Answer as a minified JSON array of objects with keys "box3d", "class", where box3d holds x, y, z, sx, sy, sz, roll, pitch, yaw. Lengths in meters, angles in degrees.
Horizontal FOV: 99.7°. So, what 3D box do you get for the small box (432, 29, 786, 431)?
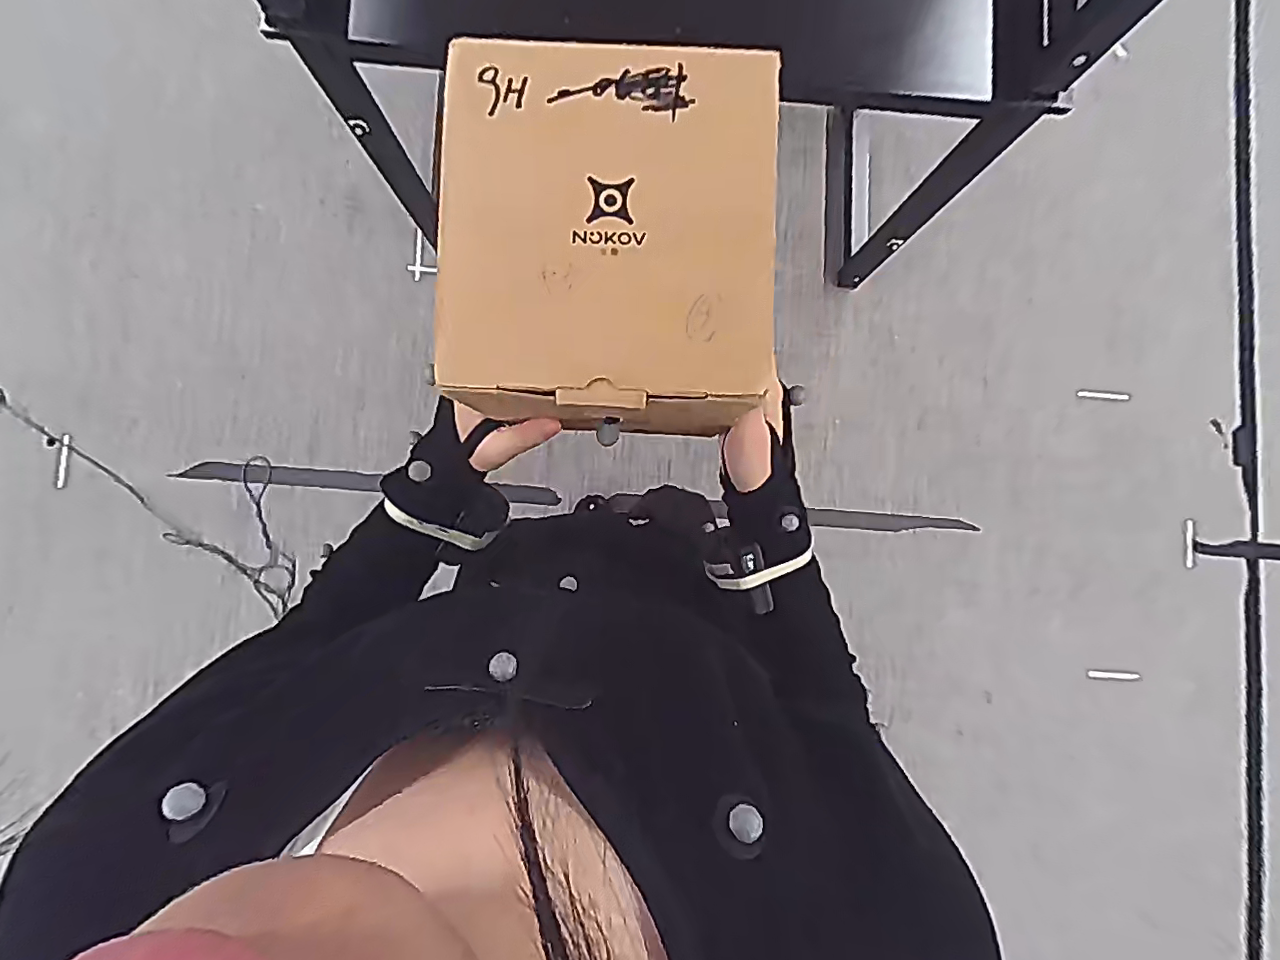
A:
[{"box3d":[-0.016,-0.125,0.339,0.168,0.176,0.179,2,89,-2],"class":"small box"}]
